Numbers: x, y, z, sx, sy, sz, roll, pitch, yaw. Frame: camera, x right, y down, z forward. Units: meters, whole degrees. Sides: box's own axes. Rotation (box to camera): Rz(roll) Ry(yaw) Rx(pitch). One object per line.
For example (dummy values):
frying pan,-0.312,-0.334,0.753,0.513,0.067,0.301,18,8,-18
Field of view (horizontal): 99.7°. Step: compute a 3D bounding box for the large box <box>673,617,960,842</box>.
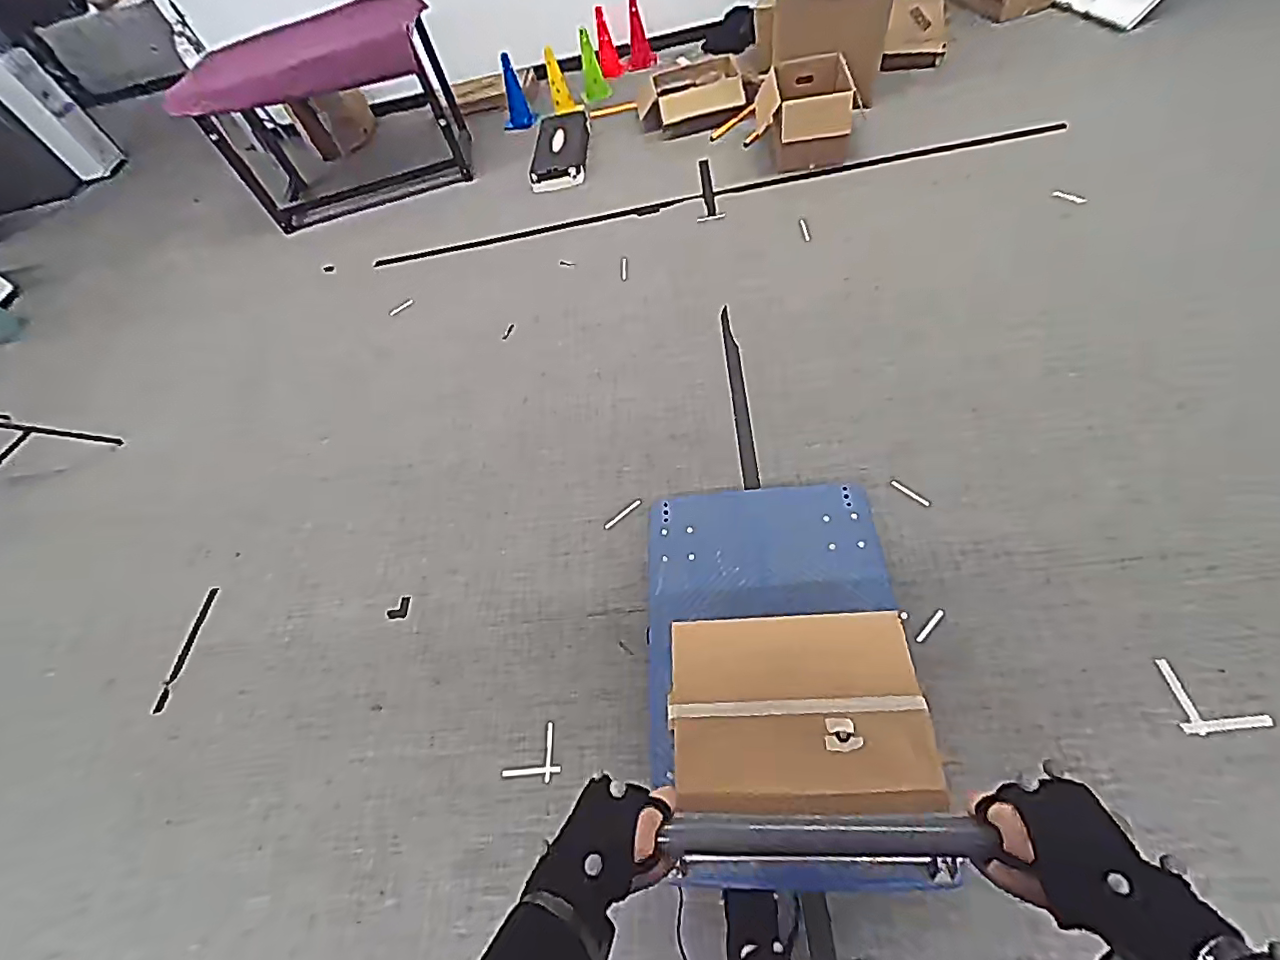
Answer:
large box,0.279,0.467,0.990,0.408,0.320,0.320,-5,54,8
